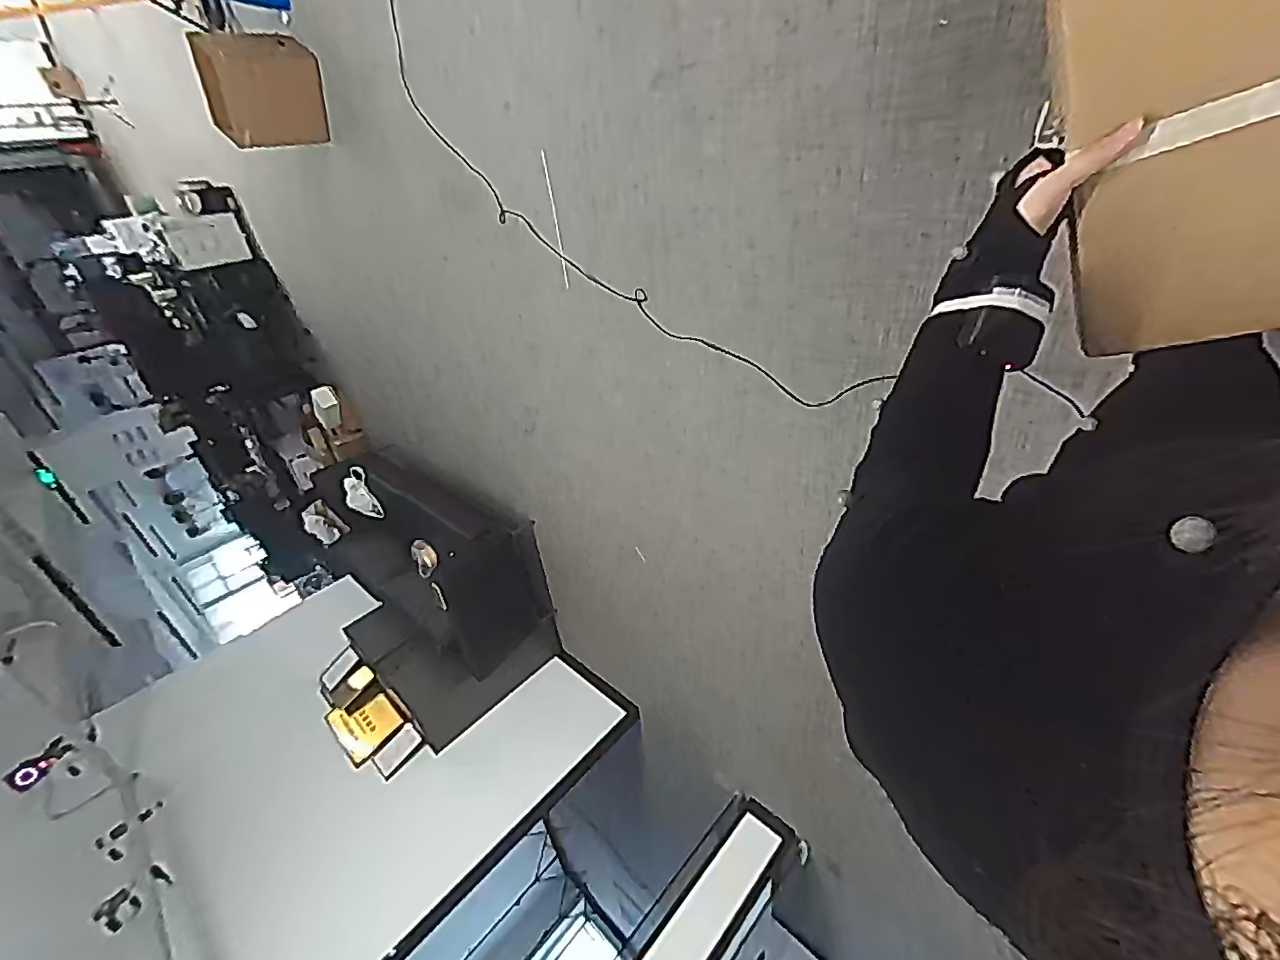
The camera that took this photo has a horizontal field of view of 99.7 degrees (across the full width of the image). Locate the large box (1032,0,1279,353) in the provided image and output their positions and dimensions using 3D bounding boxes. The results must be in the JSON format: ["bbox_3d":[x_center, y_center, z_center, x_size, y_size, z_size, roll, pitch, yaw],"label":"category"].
[{"bbox_3d":[0.574,-0.322,0.424,0.408,0.320,0.320,-6,109,38],"label":"large box"}]
